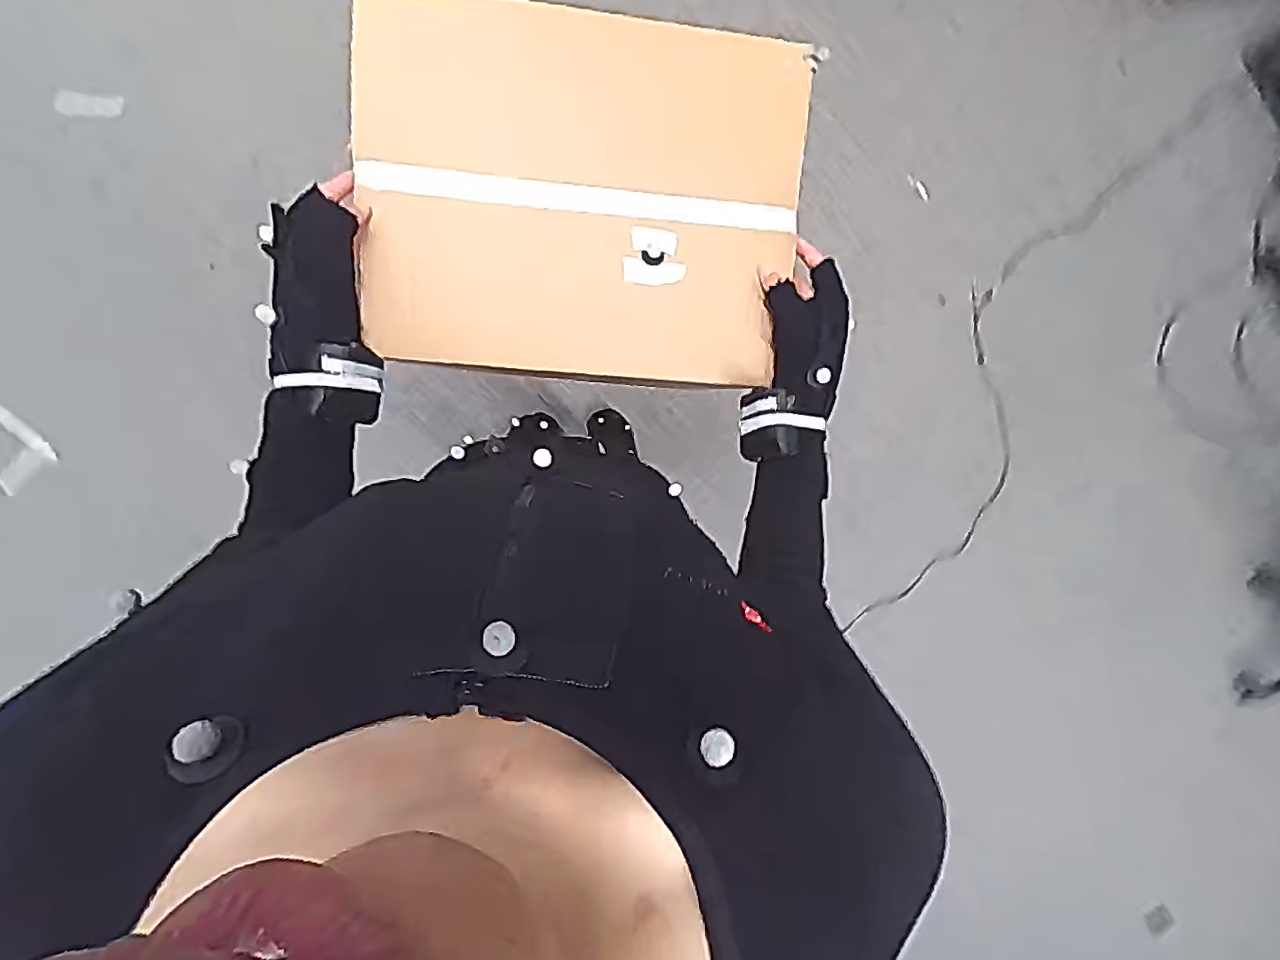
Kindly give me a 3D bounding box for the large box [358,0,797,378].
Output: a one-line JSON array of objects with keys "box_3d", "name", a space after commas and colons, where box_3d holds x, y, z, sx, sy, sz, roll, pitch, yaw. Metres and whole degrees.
[{"box_3d": [-0.072, -0.292, 0.656, 0.408, 0.320, 0.320, 2, 99, -7], "name": "large box"}]
